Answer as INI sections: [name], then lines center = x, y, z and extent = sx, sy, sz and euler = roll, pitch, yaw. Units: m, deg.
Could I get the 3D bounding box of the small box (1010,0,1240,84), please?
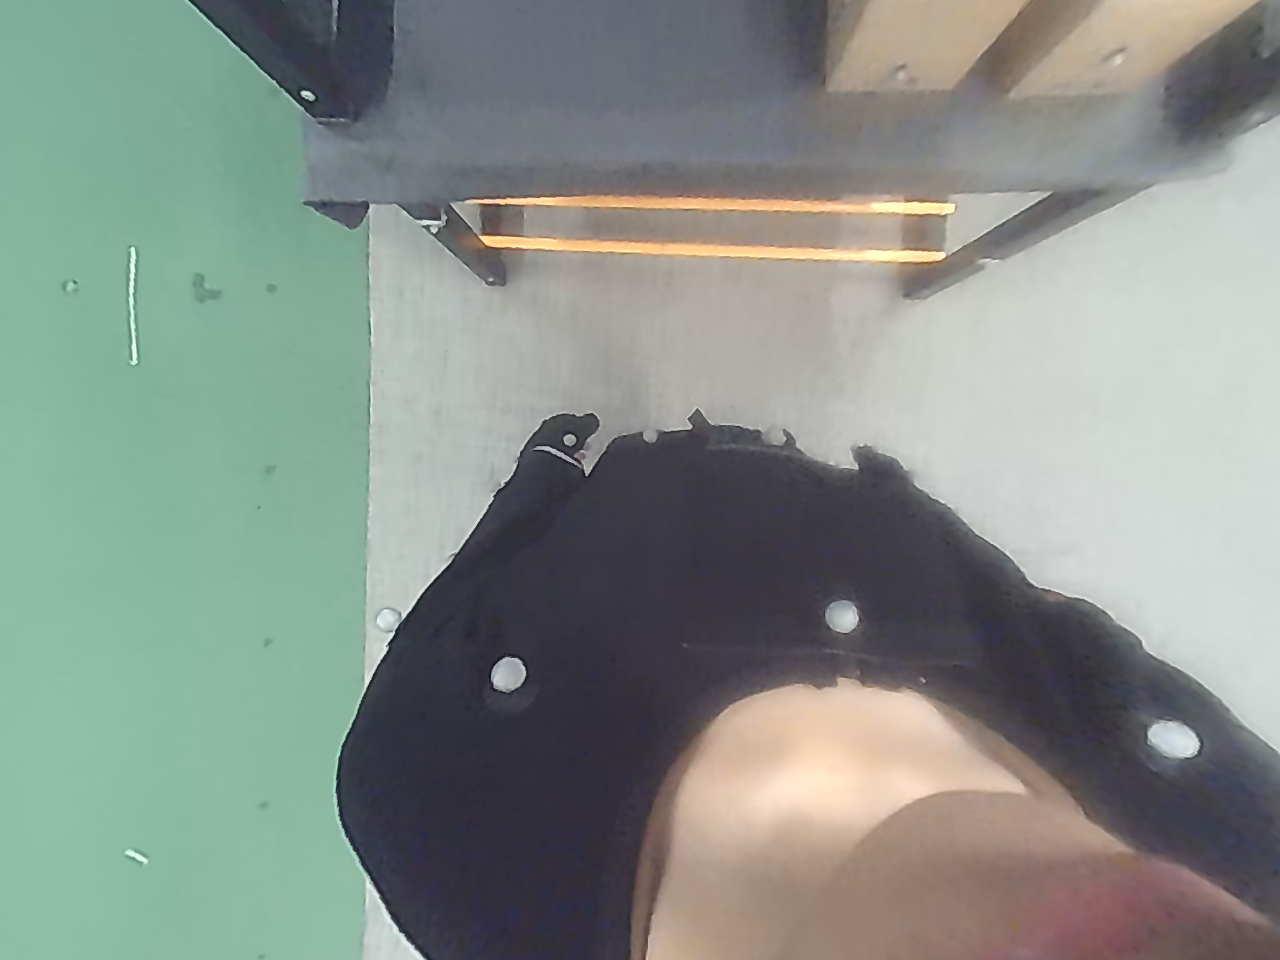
[small box]
center = 0.553, -0.582, 0.610
extent = 0.168, 0.176, 0.179
euler = -2, 94, 1
